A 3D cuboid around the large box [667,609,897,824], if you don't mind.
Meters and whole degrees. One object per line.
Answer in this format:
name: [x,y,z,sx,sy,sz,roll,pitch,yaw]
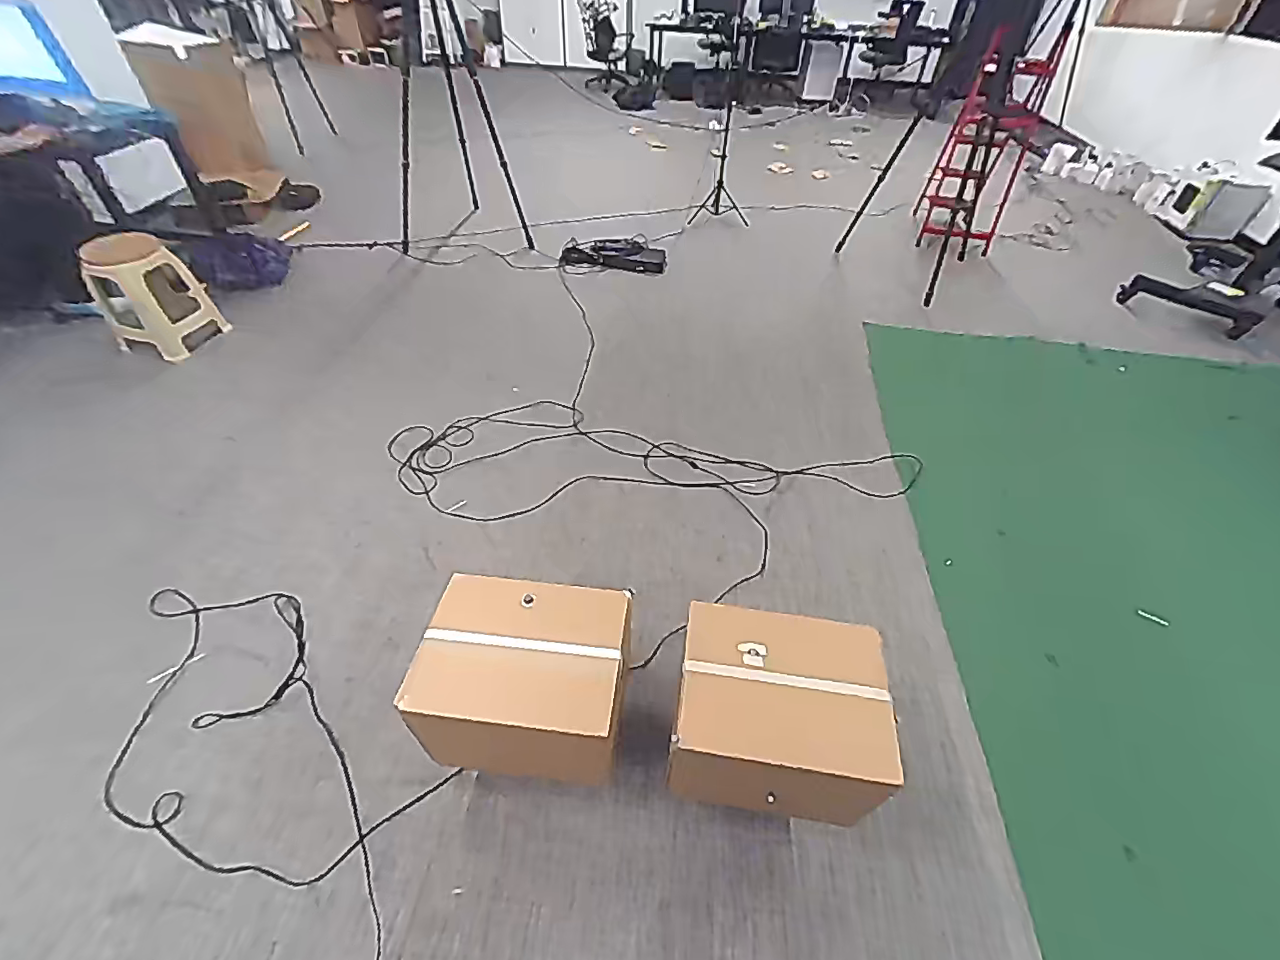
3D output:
large box: [0.281,0.518,1.184,0.408,0.320,0.320,7,45,5]
